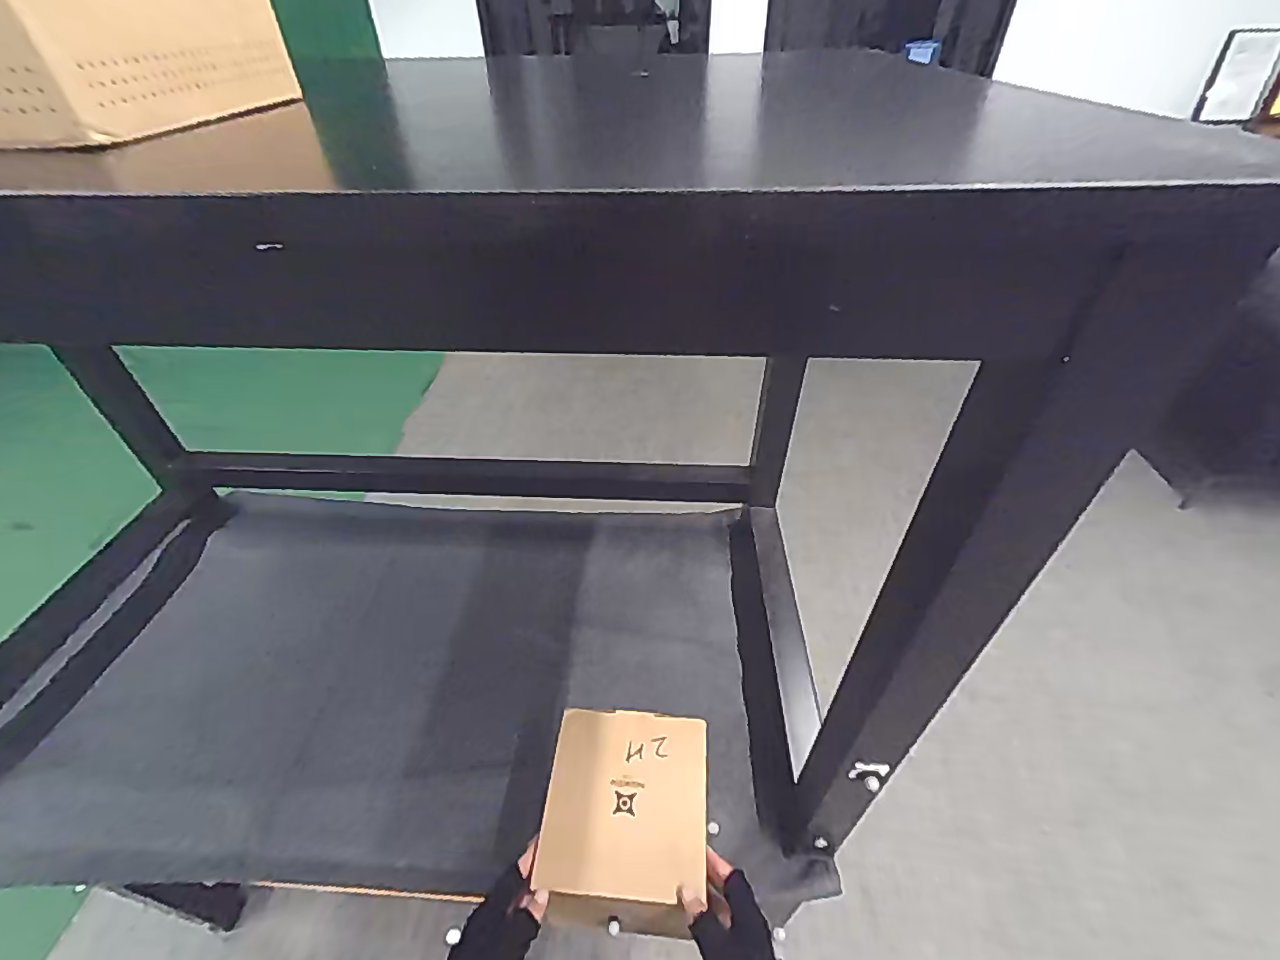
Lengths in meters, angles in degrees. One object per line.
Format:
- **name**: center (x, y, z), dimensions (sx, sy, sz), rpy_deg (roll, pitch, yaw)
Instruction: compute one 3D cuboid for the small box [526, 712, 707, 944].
- **small box**: center (-0.017, 0.393, 0.611), dimensions (0.168, 0.176, 0.179), rpy_deg (6, 42, 5)
